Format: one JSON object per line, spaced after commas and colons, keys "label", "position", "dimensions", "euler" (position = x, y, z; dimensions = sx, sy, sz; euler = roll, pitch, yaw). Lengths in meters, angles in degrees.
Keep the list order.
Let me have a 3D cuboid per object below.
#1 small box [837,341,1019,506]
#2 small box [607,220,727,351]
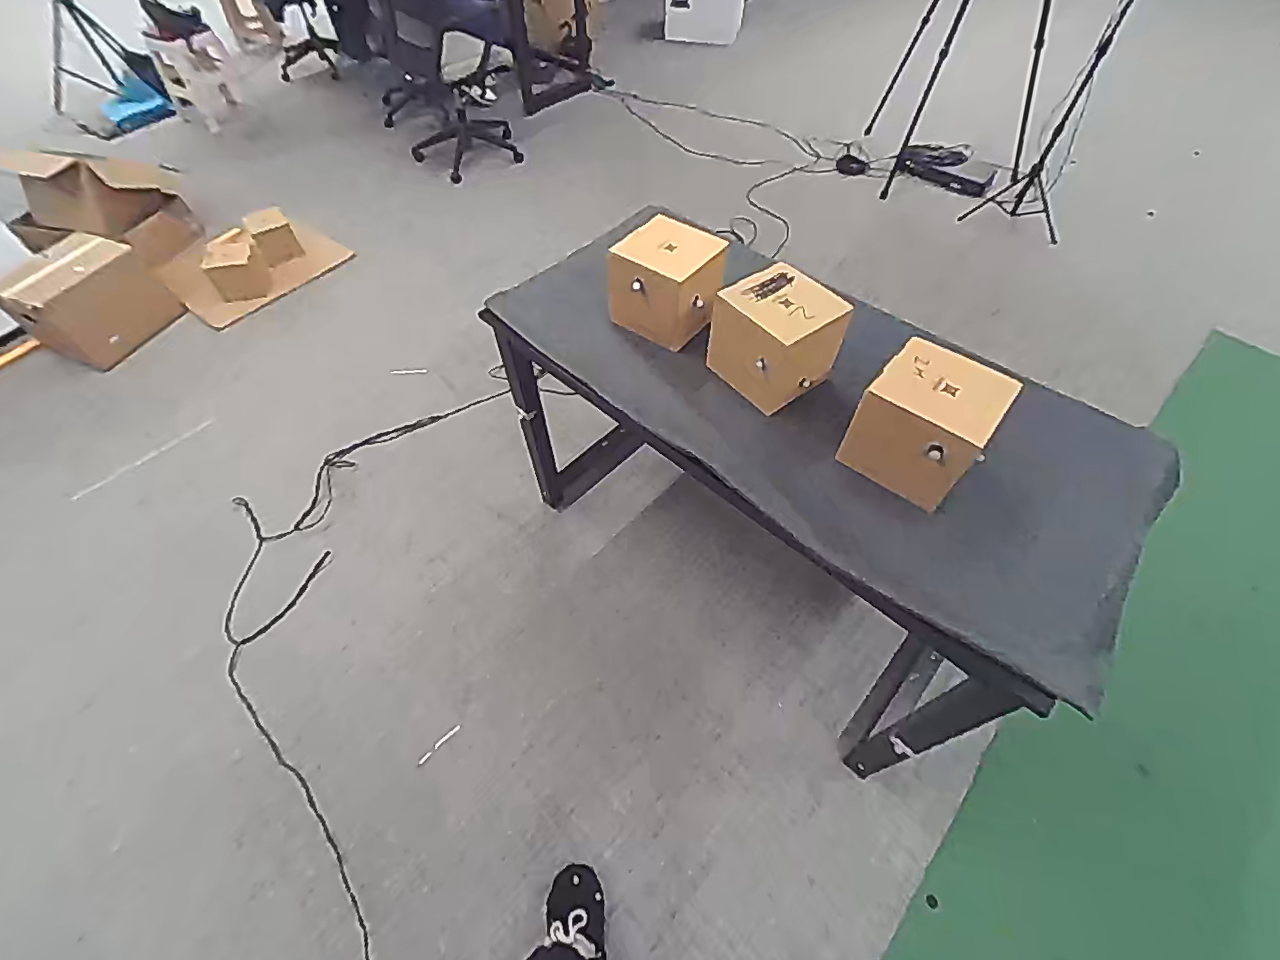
{"label": "small box", "position": [0.451, -0.083, 0.869], "dimensions": [0.179, 0.176, 0.168], "euler": [35, 61, 23]}
{"label": "small box", "position": [0.054, -0.390, 1.102], "dimensions": [0.179, 0.176, 0.168], "euler": [32, 60, 21]}
